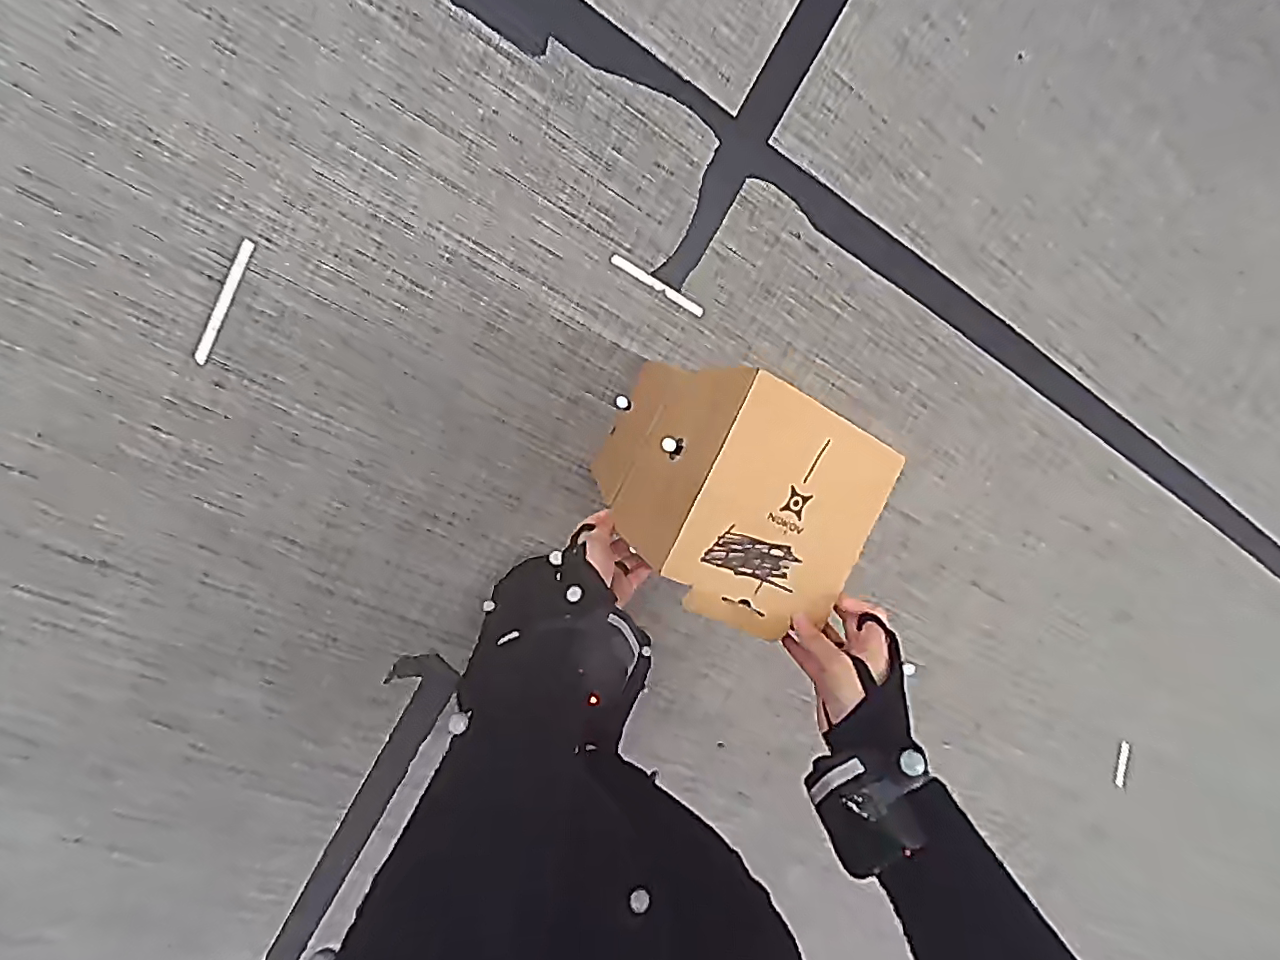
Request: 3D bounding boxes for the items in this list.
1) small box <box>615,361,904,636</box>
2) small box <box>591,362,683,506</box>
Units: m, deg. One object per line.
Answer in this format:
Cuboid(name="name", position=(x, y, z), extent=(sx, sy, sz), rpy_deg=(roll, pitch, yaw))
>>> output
Cuboid(name="small box", position=(0.092, 0.009, 0.500), extent=(0.168, 0.176, 0.179), rpy_deg=(26, 91, -21))
Cuboid(name="small box", position=(0.058, -0.035, 0.666), extent=(0.179, 0.176, 0.168), rpy_deg=(26, 99, -18))
